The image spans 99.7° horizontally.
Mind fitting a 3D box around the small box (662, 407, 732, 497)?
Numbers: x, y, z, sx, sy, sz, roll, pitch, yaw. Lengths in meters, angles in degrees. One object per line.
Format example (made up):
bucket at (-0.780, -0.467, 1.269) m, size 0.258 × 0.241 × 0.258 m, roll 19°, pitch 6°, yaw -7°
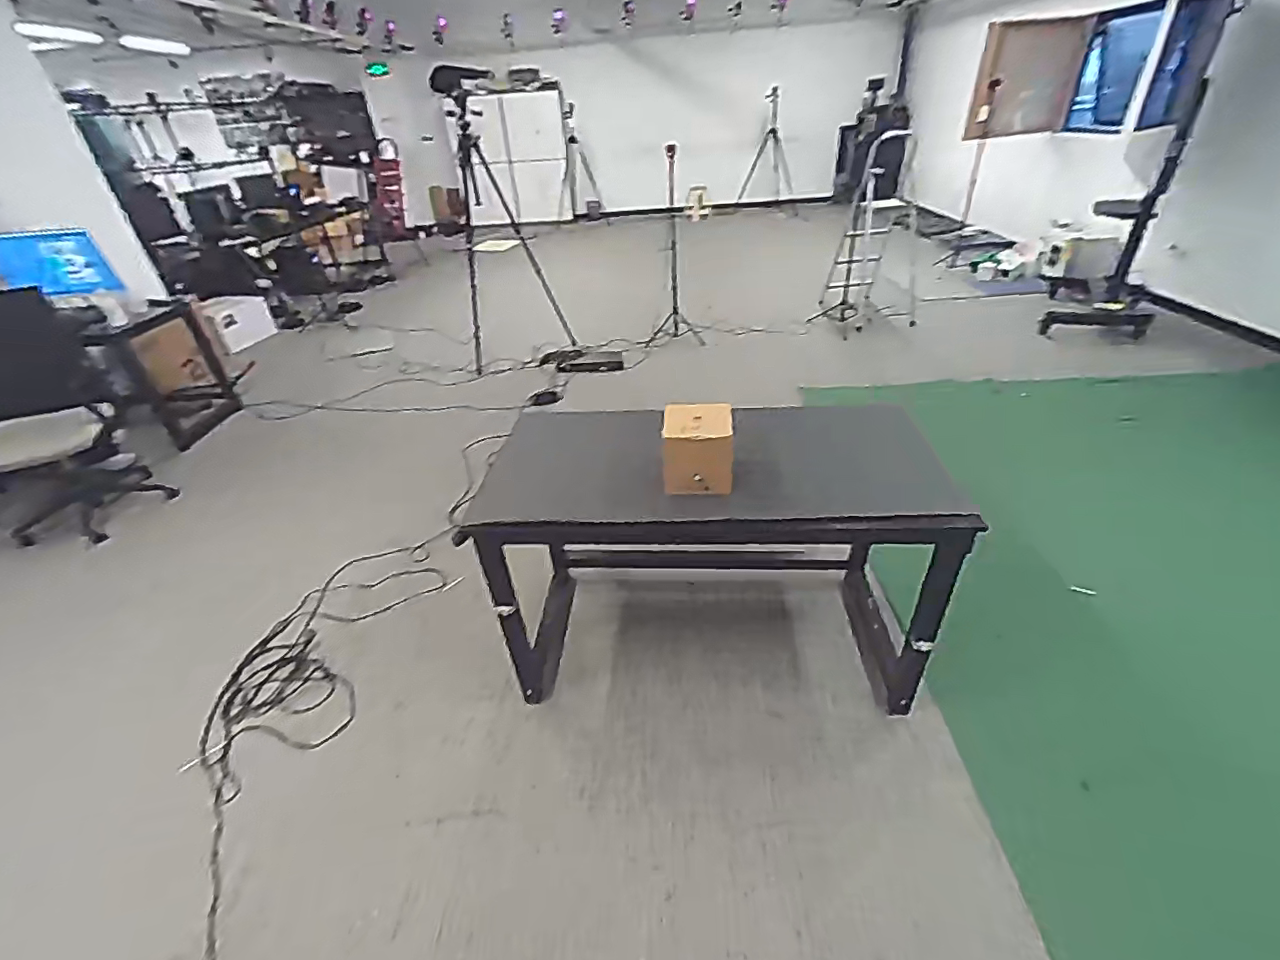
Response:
small box at (0.144, -0.075, 1.372) m, size 0.168 × 0.176 × 0.179 m, roll 0°, pitch 33°, yaw 7°
